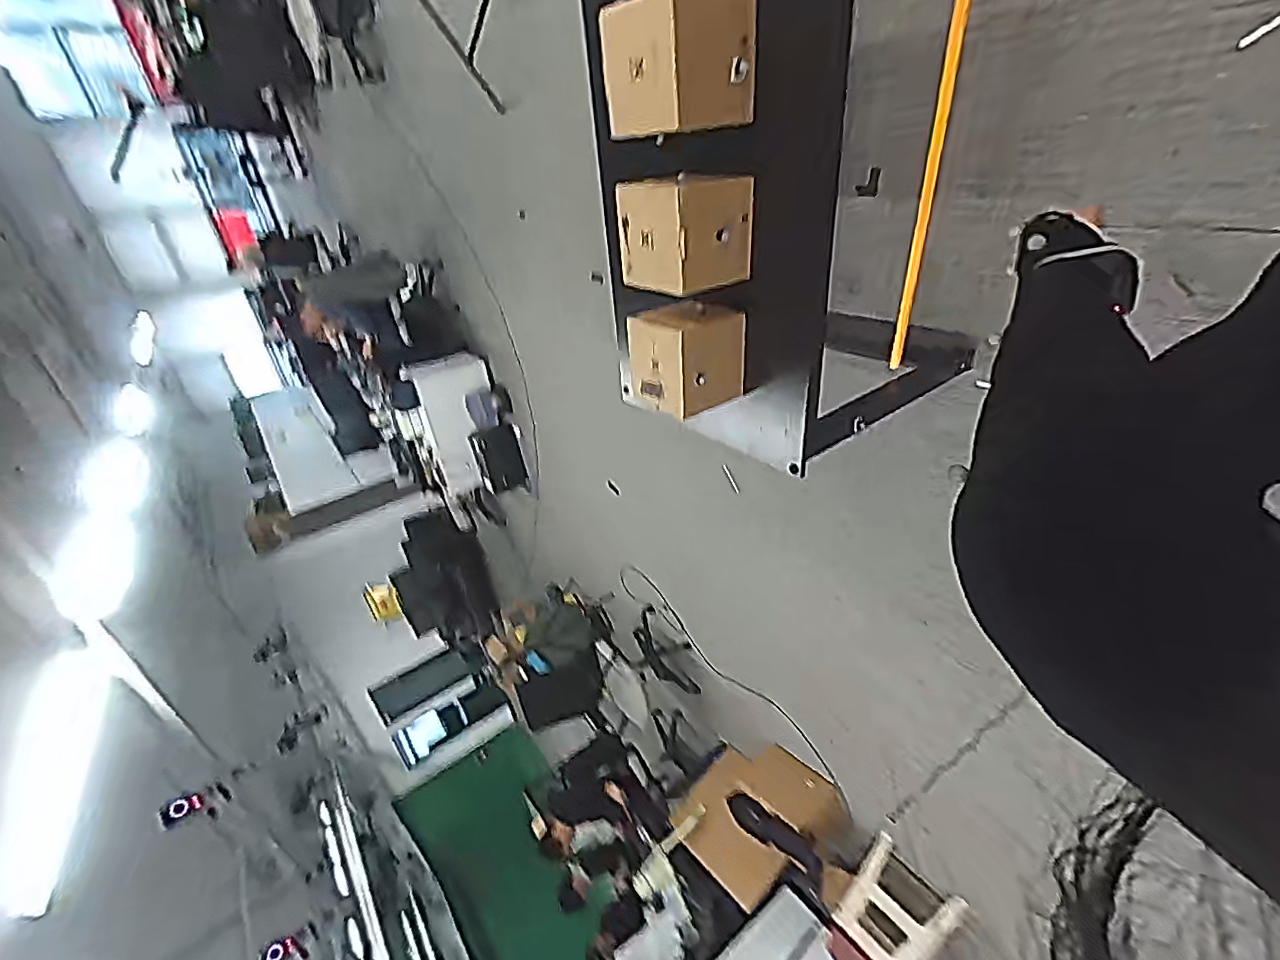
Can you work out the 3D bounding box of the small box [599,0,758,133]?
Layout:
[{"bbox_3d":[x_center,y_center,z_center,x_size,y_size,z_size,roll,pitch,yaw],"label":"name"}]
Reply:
[{"bbox_3d":[0.061,-0.652,0.846,0.179,0.176,0.168,30,138,45],"label":"small box"}]

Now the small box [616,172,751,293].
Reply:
[{"bbox_3d":[0.082,-0.450,0.970,0.179,0.176,0.168,32,138,43],"label":"small box"}]

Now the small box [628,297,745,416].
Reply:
[{"bbox_3d":[0.096,-0.255,1.097,0.168,0.176,0.179,31,137,44],"label":"small box"}]
